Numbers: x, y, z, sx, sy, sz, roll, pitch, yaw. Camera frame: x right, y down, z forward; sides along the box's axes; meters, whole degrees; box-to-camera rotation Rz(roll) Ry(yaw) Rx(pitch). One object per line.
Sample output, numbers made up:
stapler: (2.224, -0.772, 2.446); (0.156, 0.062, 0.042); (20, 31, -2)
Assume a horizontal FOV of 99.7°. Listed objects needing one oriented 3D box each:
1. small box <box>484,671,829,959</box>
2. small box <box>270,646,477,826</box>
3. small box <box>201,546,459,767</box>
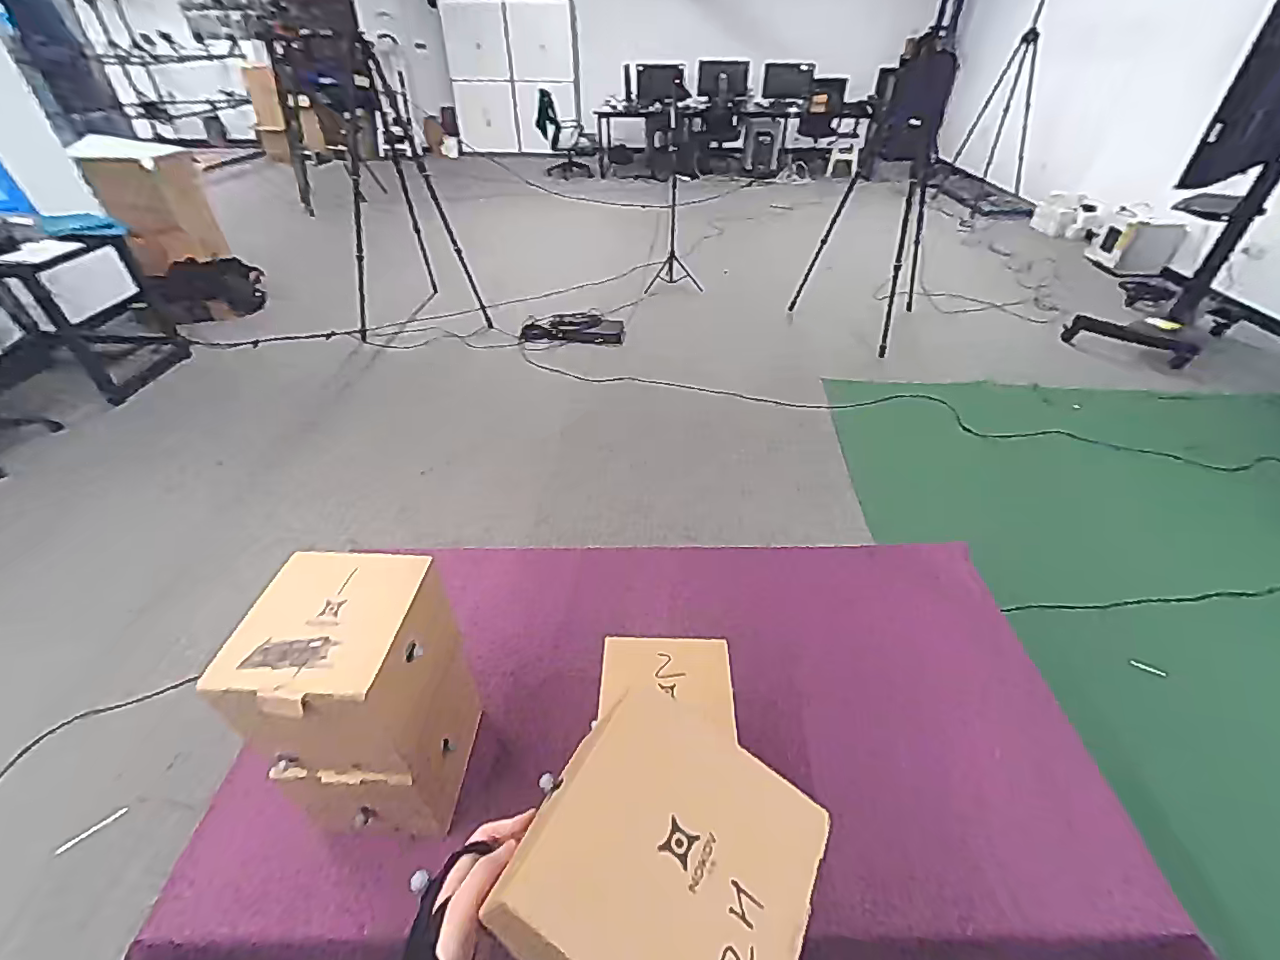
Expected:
small box: (0.004, 0.289, 0.411); (0.179, 0.176, 0.168); (36, 46, 8)
small box: (-0.326, 0.329, 0.709); (0.168, 0.176, 0.179); (3, 40, 2)
small box: (-0.321, 0.198, 0.609); (0.168, 0.176, 0.179); (3, 39, 3)
